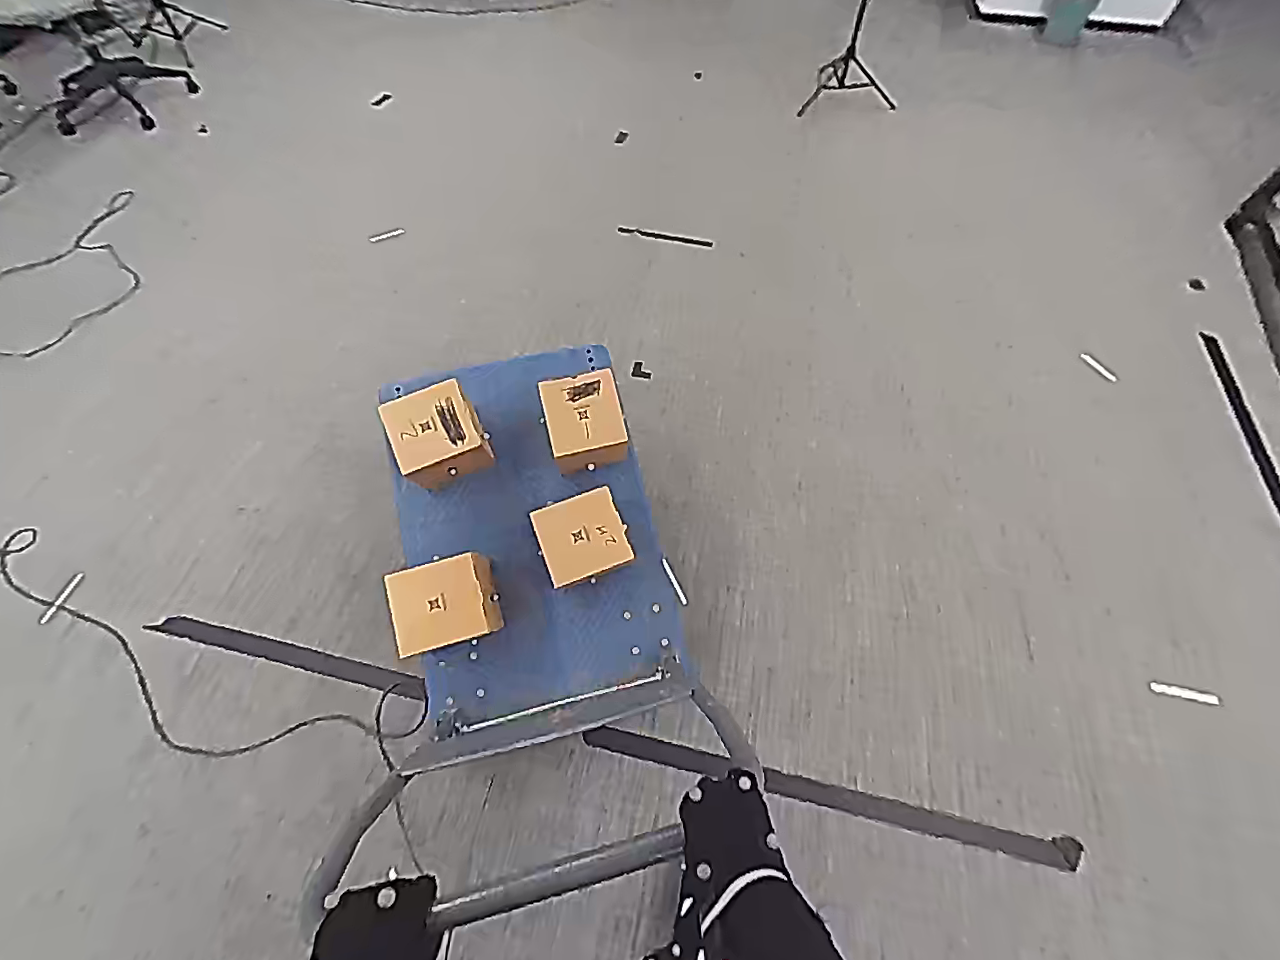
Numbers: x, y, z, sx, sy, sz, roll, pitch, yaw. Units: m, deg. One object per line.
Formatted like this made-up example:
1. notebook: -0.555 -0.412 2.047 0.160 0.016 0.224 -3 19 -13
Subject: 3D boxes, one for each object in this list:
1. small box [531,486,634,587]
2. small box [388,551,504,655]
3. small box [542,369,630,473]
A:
1. small box: -0.121 0.131 1.191 0.179 0.176 0.168 -20 79 -8
2. small box: -0.402 0.260 1.144 0.179 0.176 0.168 -15 79 -9
3. small box: -0.125 -0.131 1.250 0.168 0.176 0.179 -13 79 -6
